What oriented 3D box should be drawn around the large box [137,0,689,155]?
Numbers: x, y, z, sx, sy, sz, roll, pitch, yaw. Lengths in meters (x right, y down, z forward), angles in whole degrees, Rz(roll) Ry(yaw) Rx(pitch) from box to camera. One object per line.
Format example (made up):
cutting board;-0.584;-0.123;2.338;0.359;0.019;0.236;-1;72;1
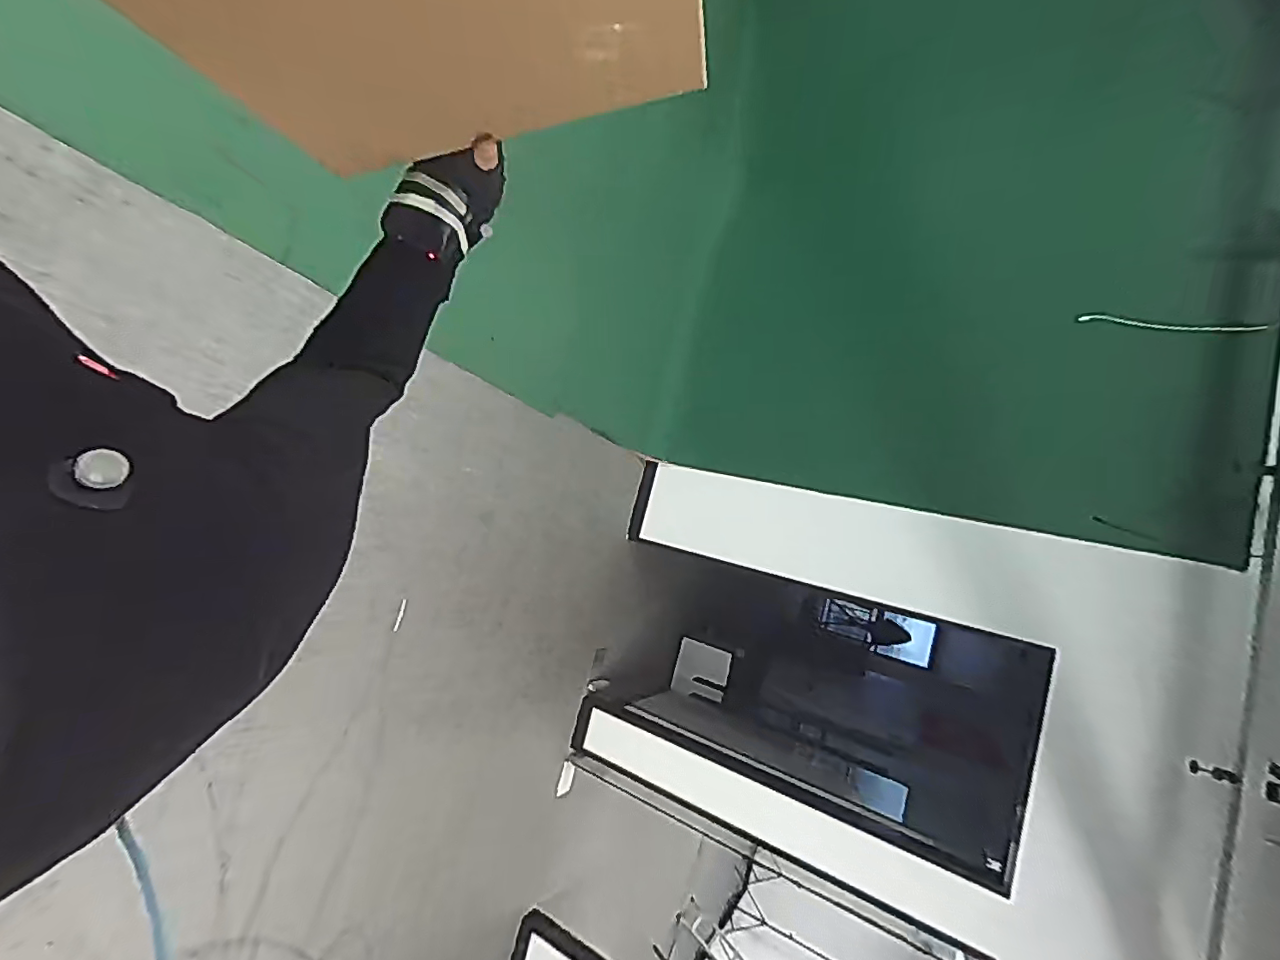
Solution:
large box;-0.159;-0.429;0.234;0.408;0.320;0.320;-10;93;-82
